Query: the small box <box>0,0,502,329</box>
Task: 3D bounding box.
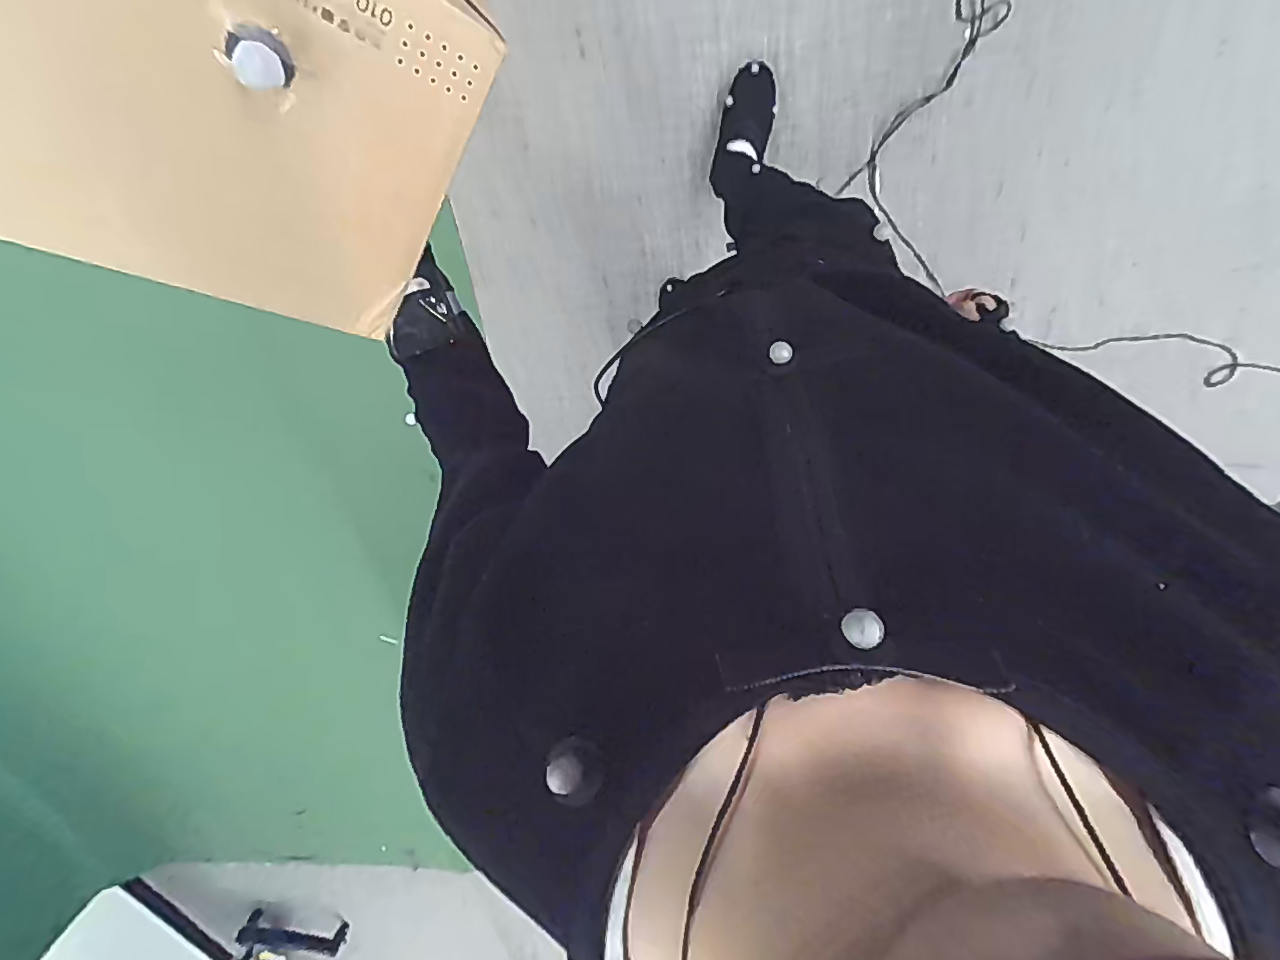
[{"bbox_3d":[-0.180,-0.209,0.247,0.168,0.179,0.176,9,138,-39],"label":"small box"}]
